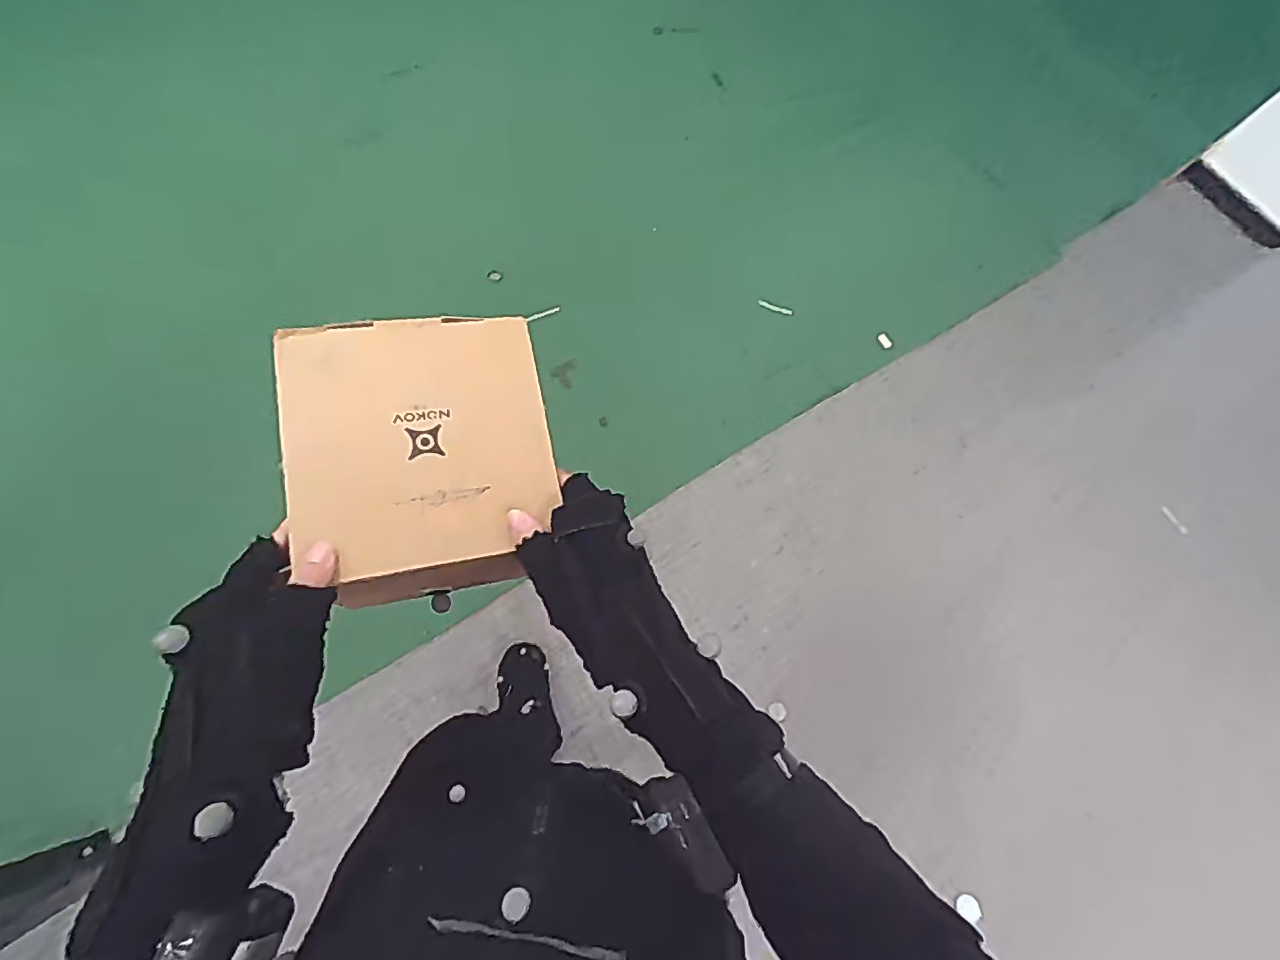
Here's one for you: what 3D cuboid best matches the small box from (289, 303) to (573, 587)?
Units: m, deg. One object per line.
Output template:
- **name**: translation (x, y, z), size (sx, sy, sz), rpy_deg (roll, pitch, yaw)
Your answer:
- **small box**: translation (-0.162, -0.019, 0.441), size (0.168, 0.176, 0.179), rpy_deg (-9, 78, -18)
